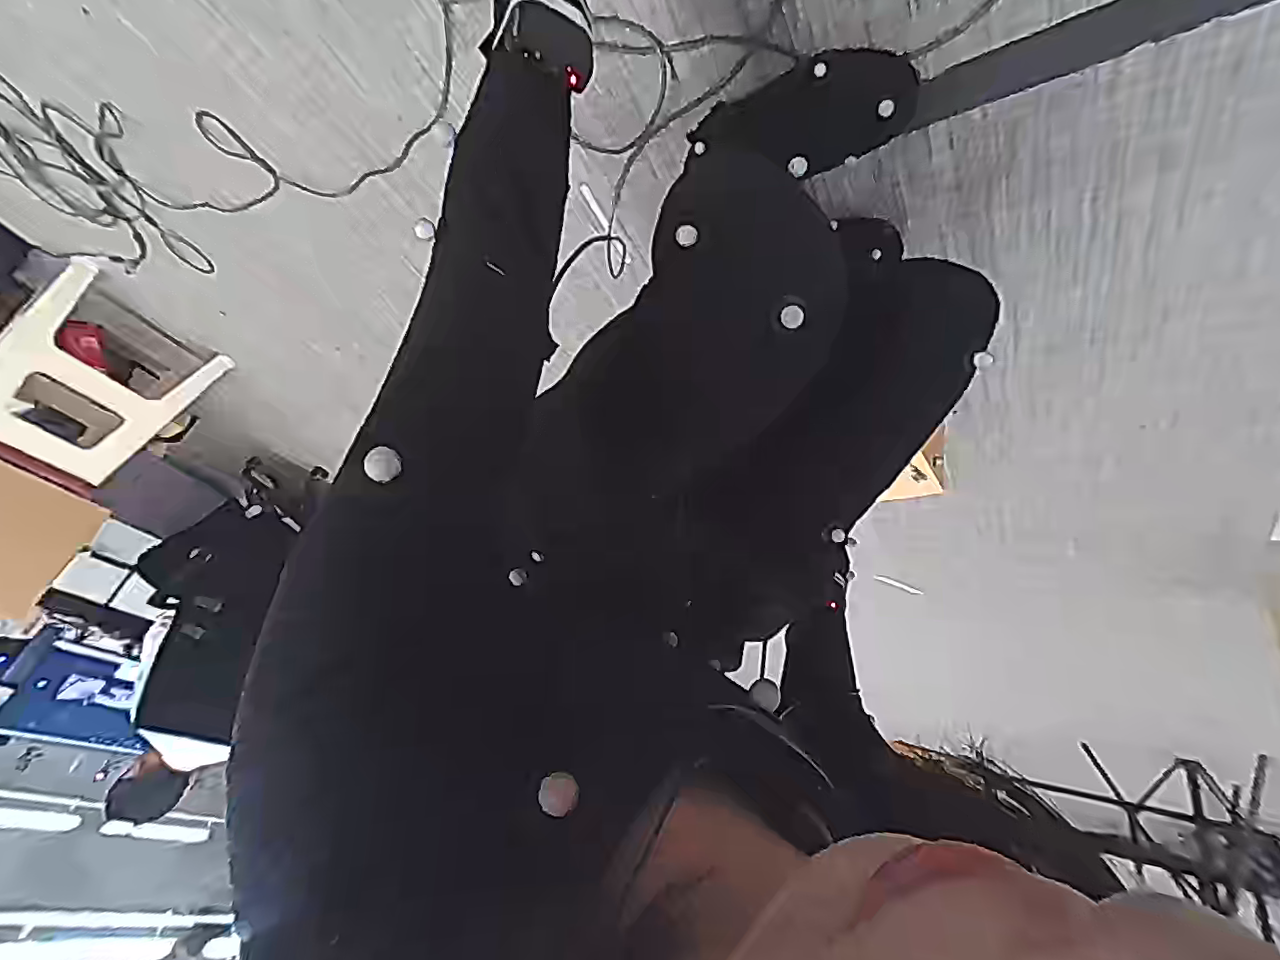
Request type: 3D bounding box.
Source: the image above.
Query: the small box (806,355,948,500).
[{"bbox_3d":[0.412,-0.084,0.928,0.179,0.176,0.168,-10,141,42],"label":"small box"}]
